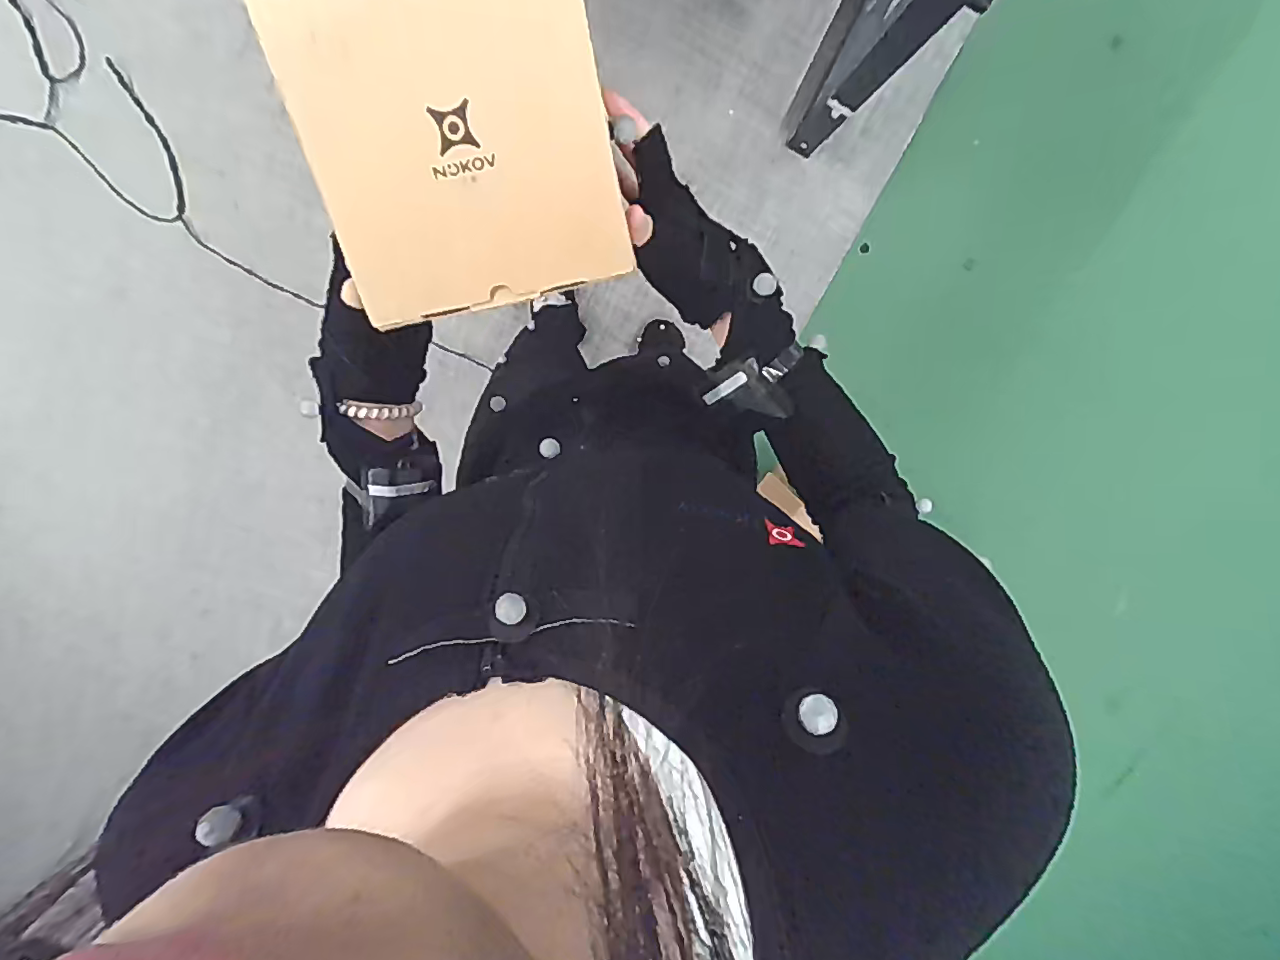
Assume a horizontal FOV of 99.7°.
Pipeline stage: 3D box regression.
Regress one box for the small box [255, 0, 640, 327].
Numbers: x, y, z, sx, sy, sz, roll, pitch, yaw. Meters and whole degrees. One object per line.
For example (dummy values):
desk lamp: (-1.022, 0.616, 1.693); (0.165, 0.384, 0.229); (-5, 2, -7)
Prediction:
small box: (-0.101, -0.218, 0.367); (0.168, 0.176, 0.179); (-12, 115, 2)
